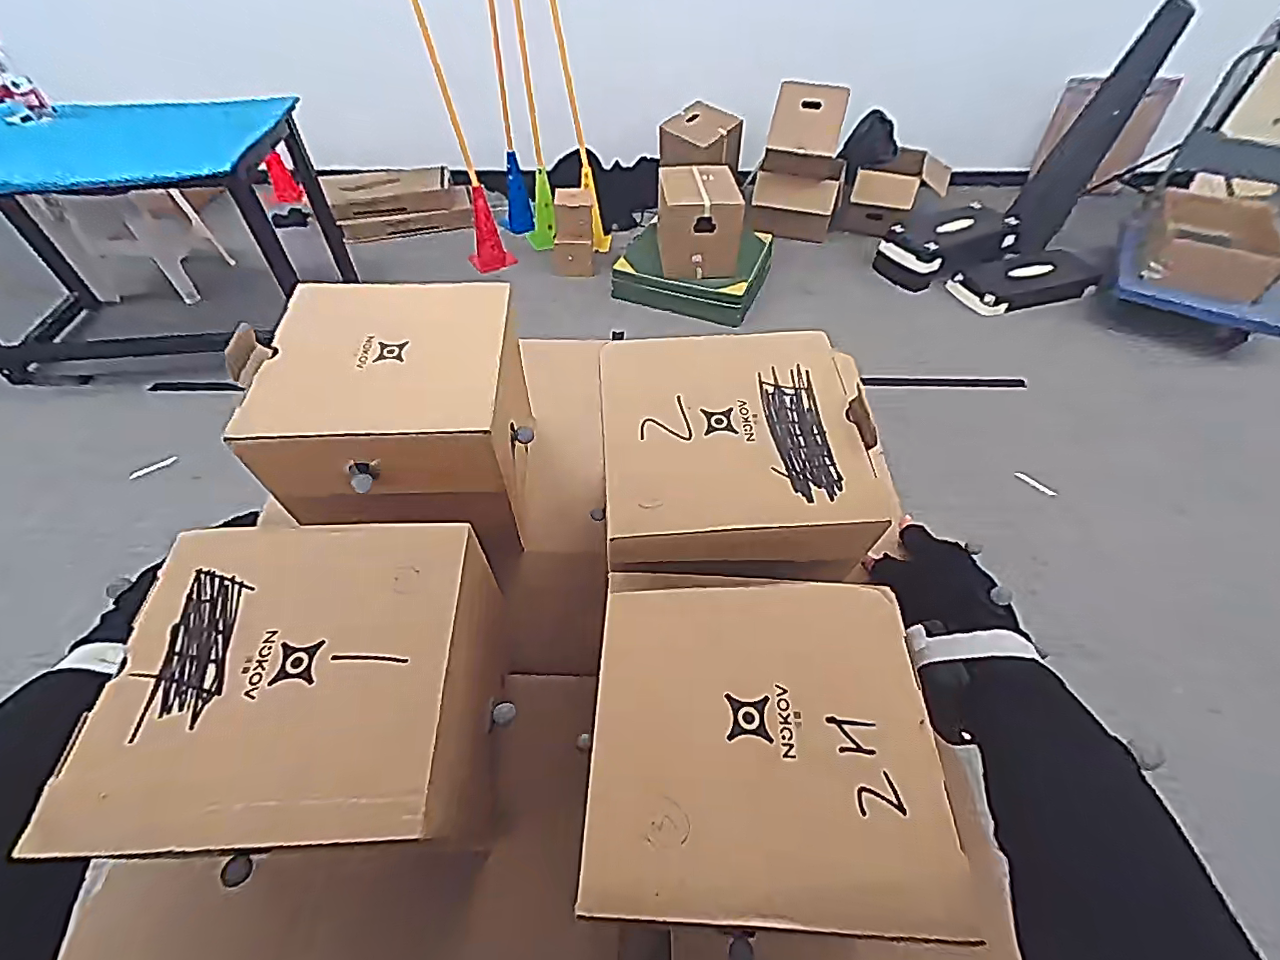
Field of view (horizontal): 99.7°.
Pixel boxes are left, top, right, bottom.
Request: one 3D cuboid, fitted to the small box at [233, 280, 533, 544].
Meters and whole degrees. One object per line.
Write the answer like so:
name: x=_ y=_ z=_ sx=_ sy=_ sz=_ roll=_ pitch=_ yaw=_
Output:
small box: x=-0.194 y=-0.054 z=0.477 sx=0.179 sy=0.176 sz=0.168 roll=-2 pitch=54 yaw=-3
